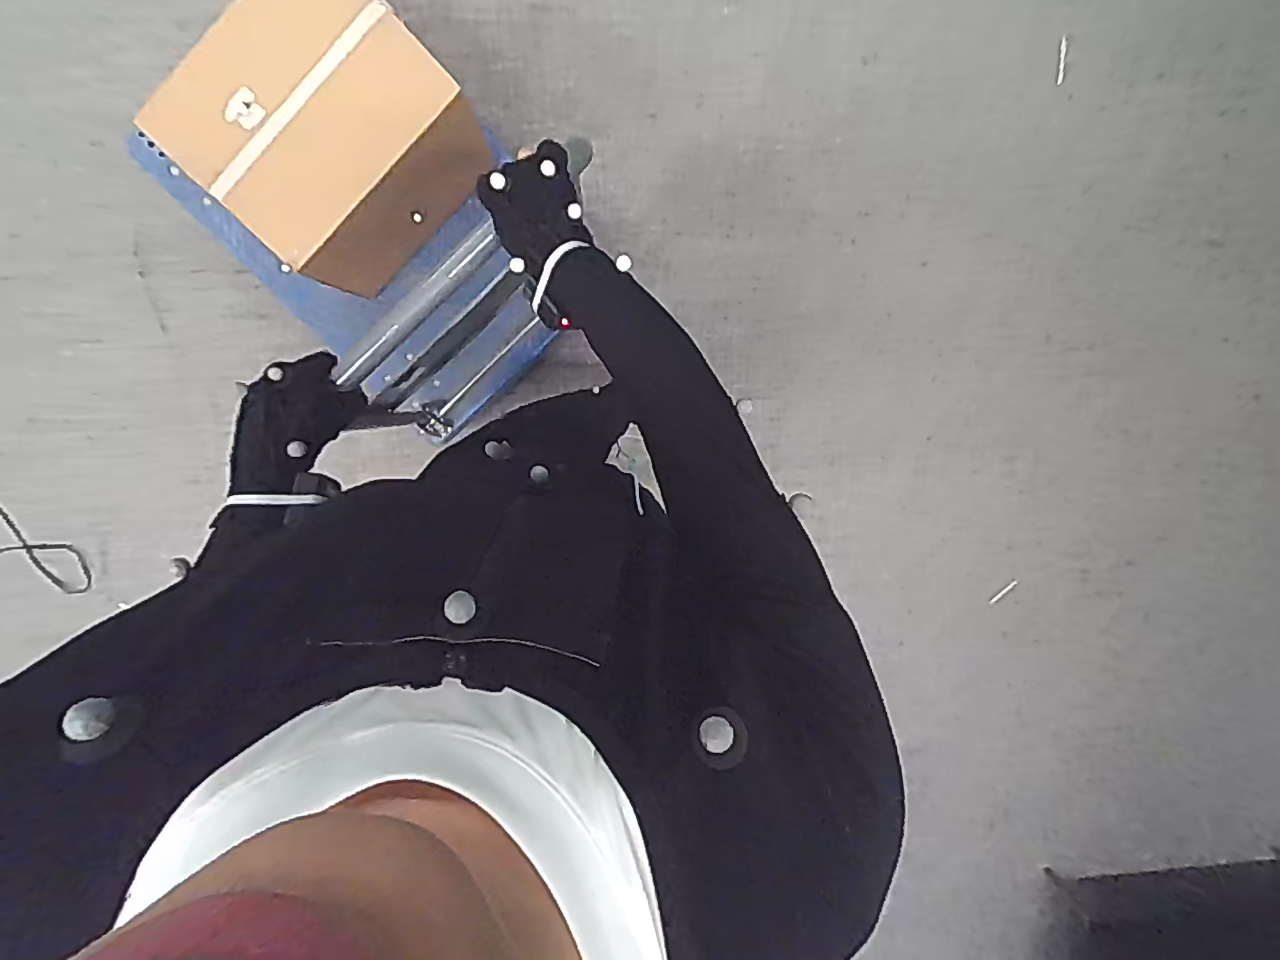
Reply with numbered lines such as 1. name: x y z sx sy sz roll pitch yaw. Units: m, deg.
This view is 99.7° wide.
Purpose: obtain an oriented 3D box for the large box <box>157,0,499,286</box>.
1. large box: -0.529 -0.637 1.005 0.408 0.320 0.320 -45 100 6
